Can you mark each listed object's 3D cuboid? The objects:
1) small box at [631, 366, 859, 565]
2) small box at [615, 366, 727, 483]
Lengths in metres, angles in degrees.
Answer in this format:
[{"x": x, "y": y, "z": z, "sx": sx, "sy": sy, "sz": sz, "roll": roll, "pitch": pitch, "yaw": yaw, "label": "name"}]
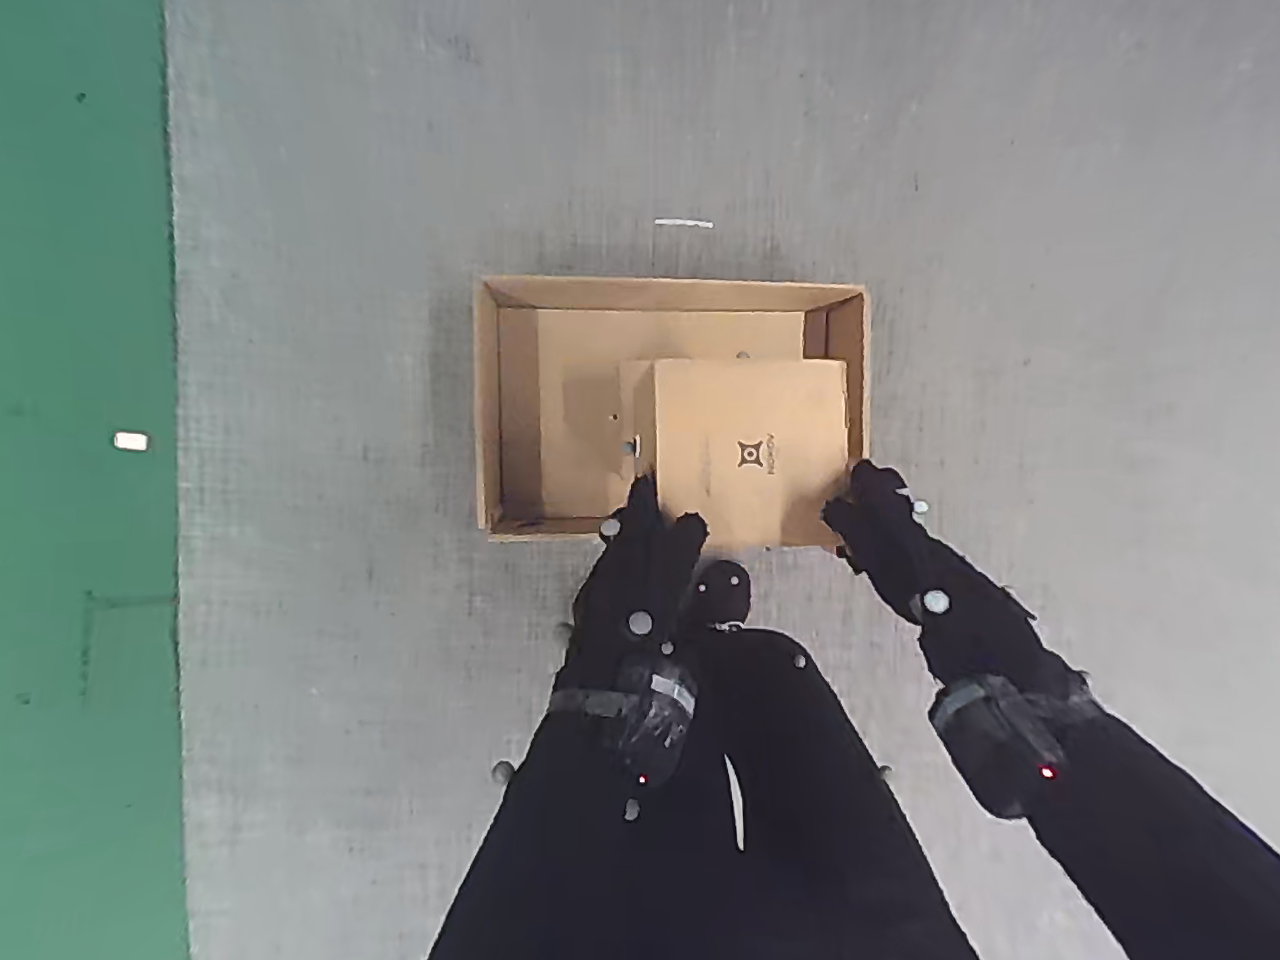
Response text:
[{"x": 0.093, "y": -0.017, "z": 0.547, "sx": 0.179, "sy": 0.176, "sz": 0.168, "roll": -5, "pitch": 92, "yaw": -8, "label": "small box"}, {"x": 0.047, "y": -0.088, "z": 0.895, "sx": 0.168, "sy": 0.176, "sz": 0.179, "roll": -1, "pitch": 92, "yaw": -6, "label": "small box"}]
